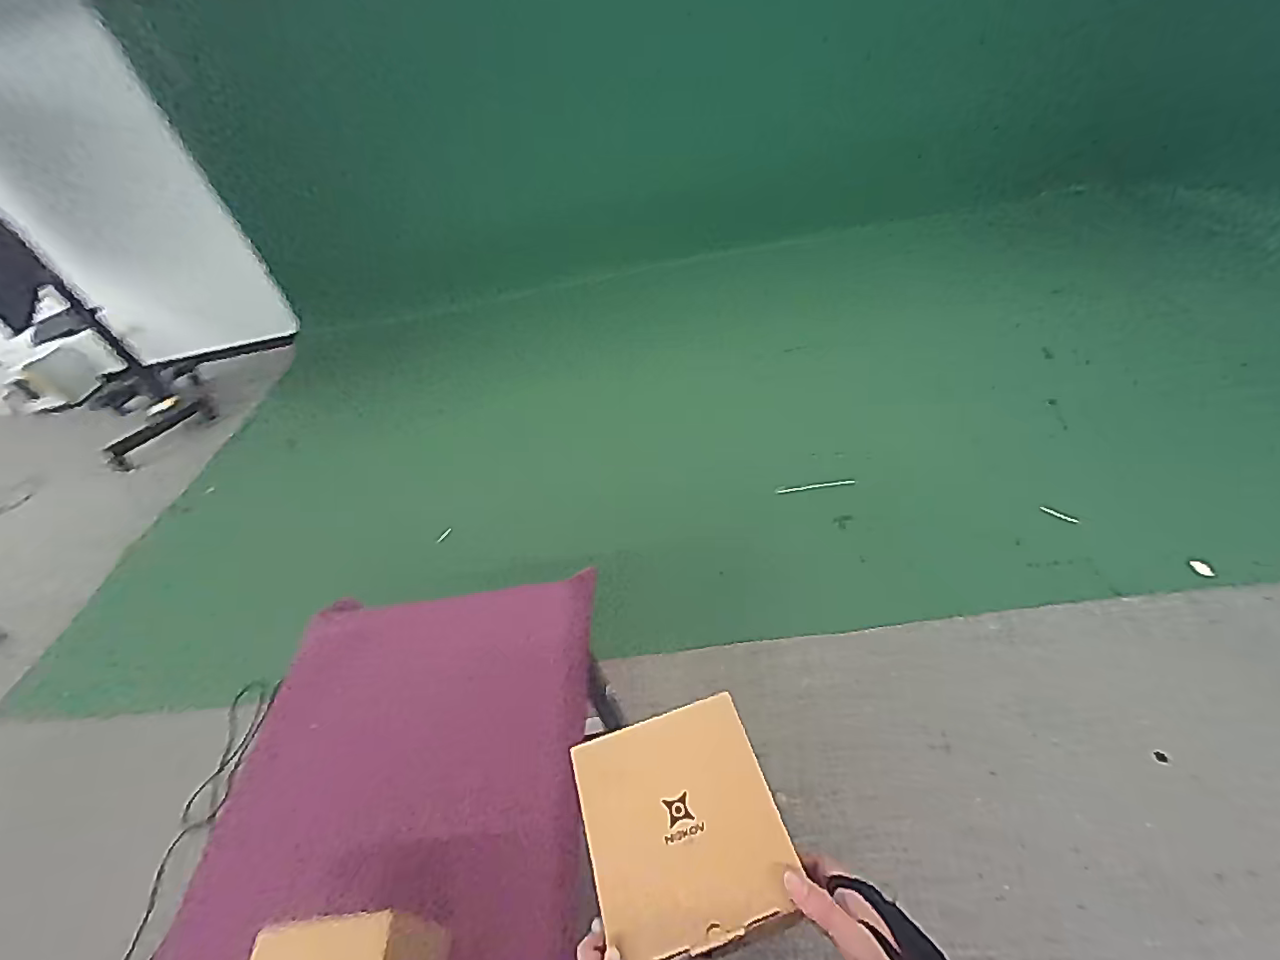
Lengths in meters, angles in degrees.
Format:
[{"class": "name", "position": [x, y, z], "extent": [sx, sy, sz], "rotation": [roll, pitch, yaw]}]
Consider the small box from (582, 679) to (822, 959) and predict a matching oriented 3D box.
[{"class": "small box", "position": [0.052, 0.330, 0.526], "extent": [0.168, 0.176, 0.179], "rotation": [-17, 48, -5]}]

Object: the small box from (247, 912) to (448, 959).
[{"class": "small box", "position": [-0.359, 0.640, 0.643], "extent": [0.179, 0.176, 0.168], "rotation": [-10, 43, 5]}]
